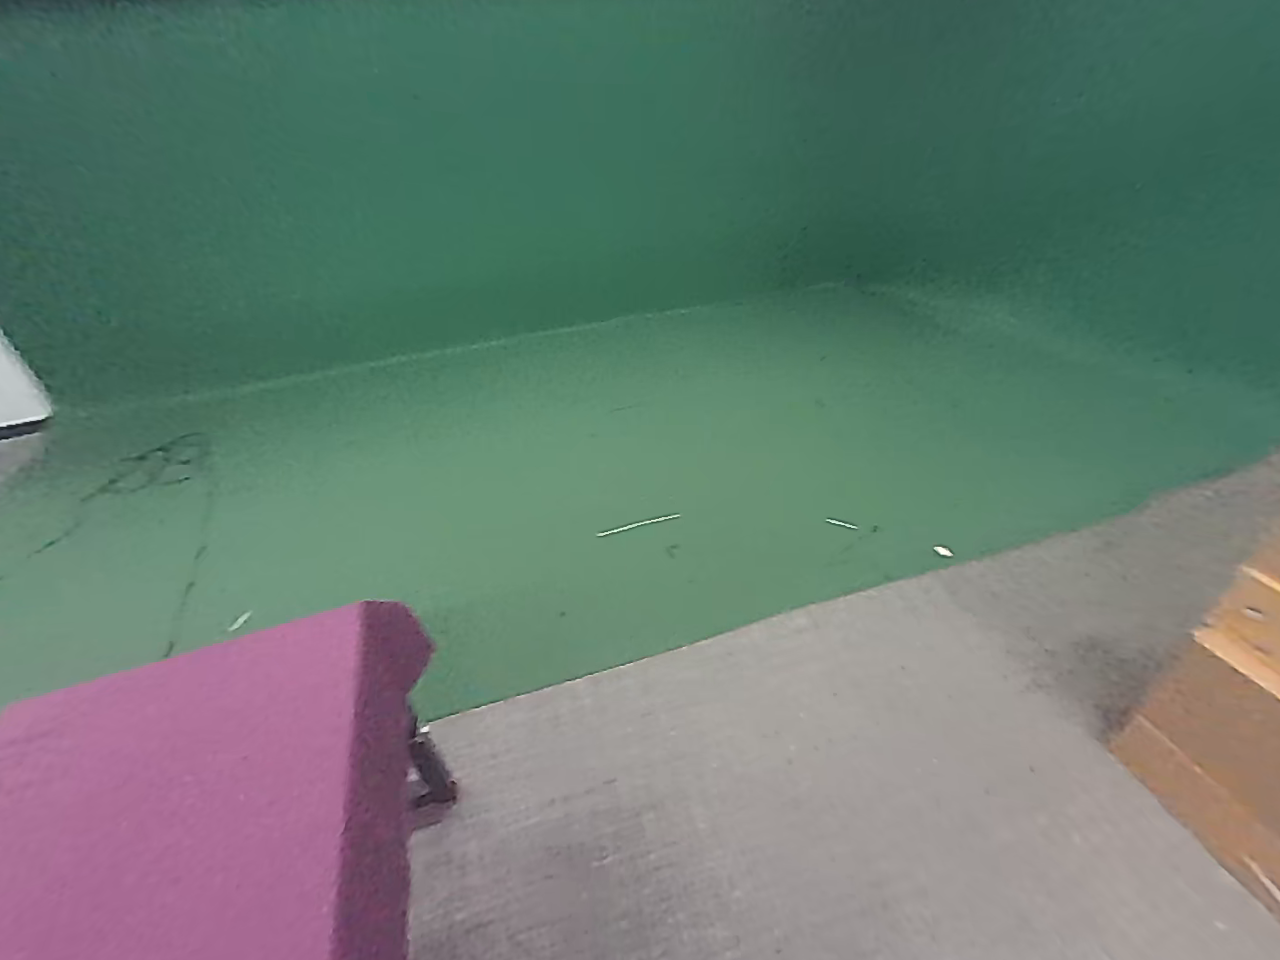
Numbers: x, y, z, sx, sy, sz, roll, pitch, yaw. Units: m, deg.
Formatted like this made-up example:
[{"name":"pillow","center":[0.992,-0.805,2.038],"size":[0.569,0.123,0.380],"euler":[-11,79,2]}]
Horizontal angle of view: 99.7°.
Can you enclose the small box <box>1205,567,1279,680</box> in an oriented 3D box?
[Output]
[{"name":"small box","center":[1.341,0.284,1.115],"size":[0.179,0.176,0.168],"euler":[-12,38,-10]}]

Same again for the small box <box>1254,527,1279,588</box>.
[{"name":"small box","center":[1.344,0.149,1.020],"size":[0.179,0.176,0.168],"euler":[-11,38,-9]}]
